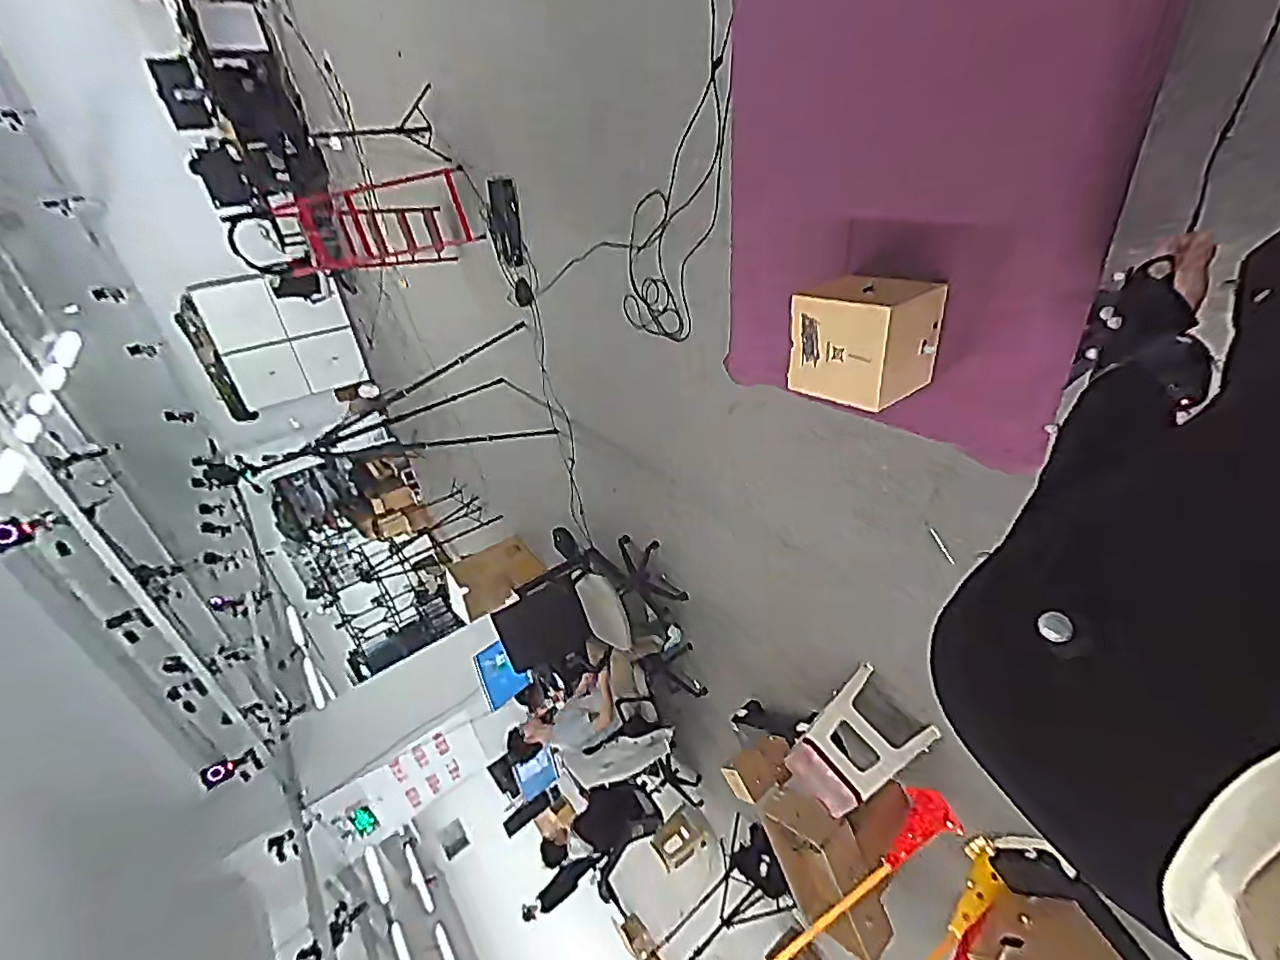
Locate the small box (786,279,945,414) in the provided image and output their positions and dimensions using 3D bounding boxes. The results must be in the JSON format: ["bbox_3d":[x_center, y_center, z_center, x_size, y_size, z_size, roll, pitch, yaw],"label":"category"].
[{"bbox_3d":[0.368,-0.230,0.897,0.179,0.176,0.168,27,134,44],"label":"small box"}]
